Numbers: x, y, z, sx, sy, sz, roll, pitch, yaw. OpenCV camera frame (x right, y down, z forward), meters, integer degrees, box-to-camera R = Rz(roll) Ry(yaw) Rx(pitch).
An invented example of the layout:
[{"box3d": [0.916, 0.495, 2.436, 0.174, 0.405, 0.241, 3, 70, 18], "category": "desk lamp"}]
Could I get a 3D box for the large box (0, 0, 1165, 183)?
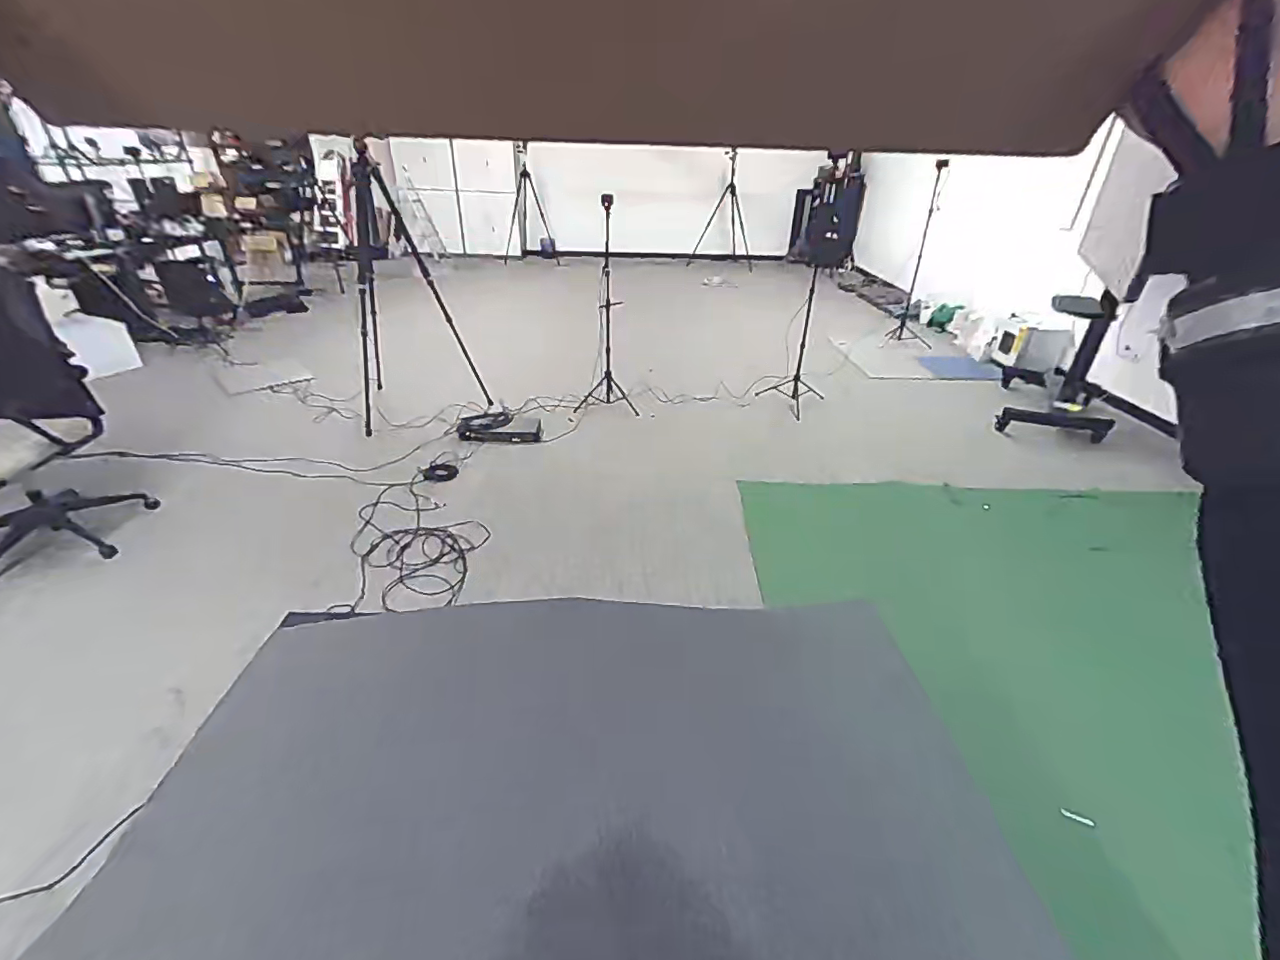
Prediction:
[{"box3d": [-0.026, -0.323, 0.151, 0.408, 0.320, 0.320, 1, 67, -2], "category": "large box"}]
